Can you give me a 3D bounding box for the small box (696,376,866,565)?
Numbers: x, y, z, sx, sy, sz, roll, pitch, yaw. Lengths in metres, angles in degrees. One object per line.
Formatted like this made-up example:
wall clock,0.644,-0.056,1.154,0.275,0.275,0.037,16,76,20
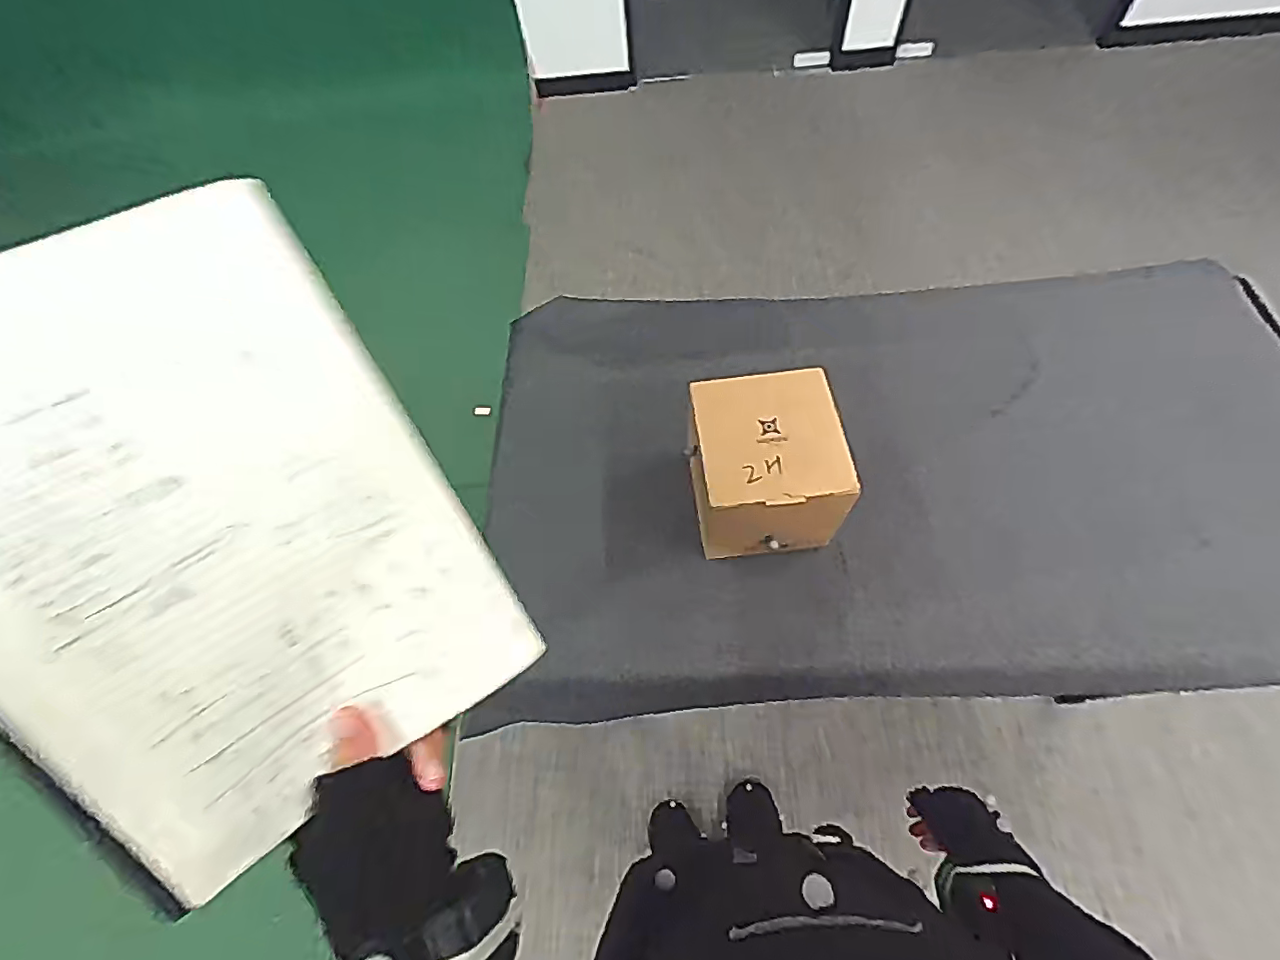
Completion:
small box,0.164,-0.007,0.699,0.168,0.176,0.179,-7,61,2
